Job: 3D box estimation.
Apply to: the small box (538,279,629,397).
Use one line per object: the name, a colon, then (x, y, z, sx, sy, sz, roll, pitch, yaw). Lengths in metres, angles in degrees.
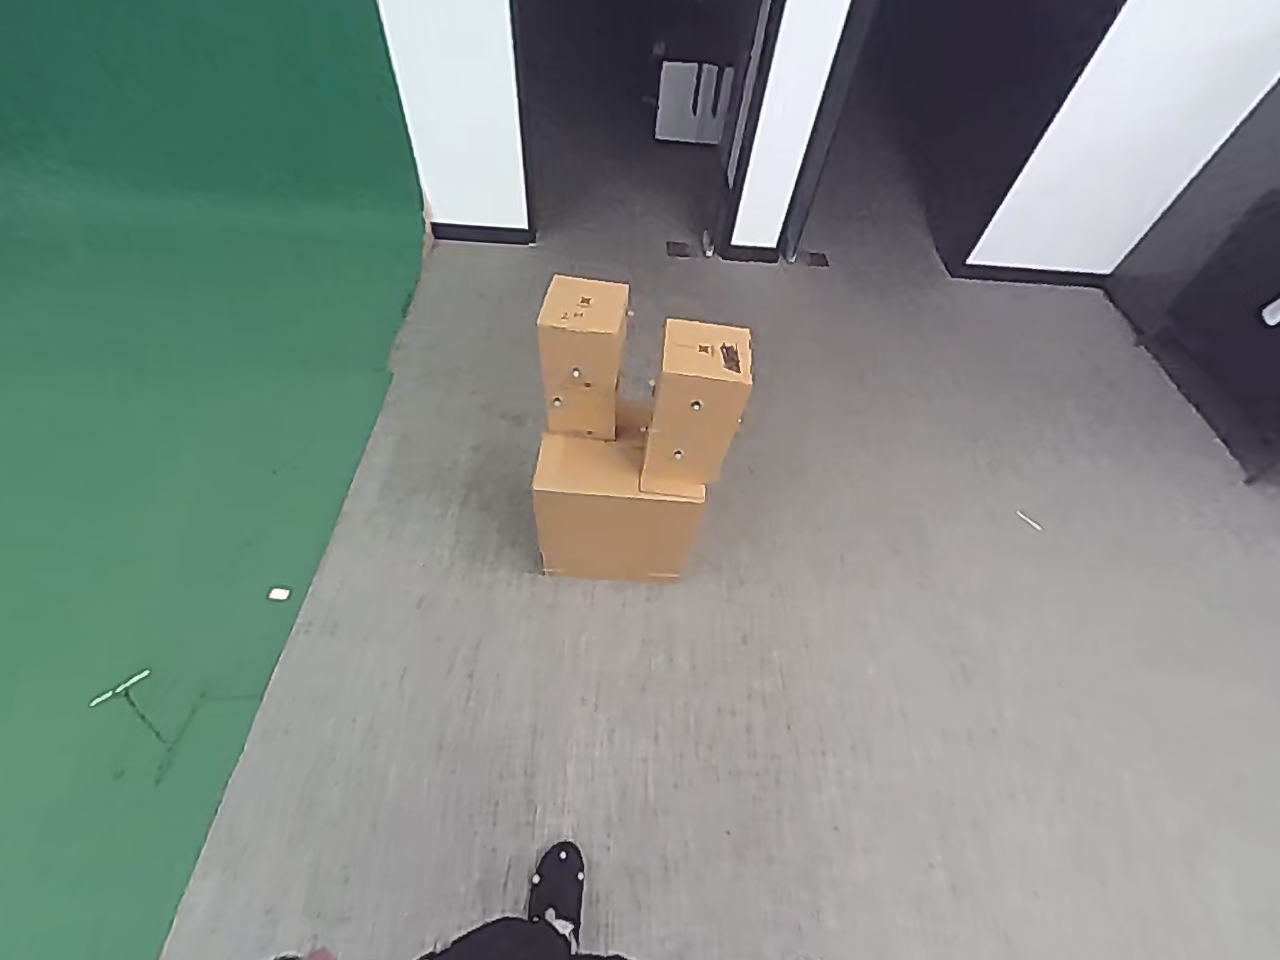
small box: (-0.120, -0.311, 1.191, 0.168, 0.176, 0.179, 7, 54, 2)

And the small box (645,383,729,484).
small box: (0.107, -0.105, 1.263, 0.179, 0.176, 0.168, 6, 56, -1)

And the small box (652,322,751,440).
small box: (0.125, -0.202, 1.132, 0.179, 0.176, 0.168, 7, 54, -1)
